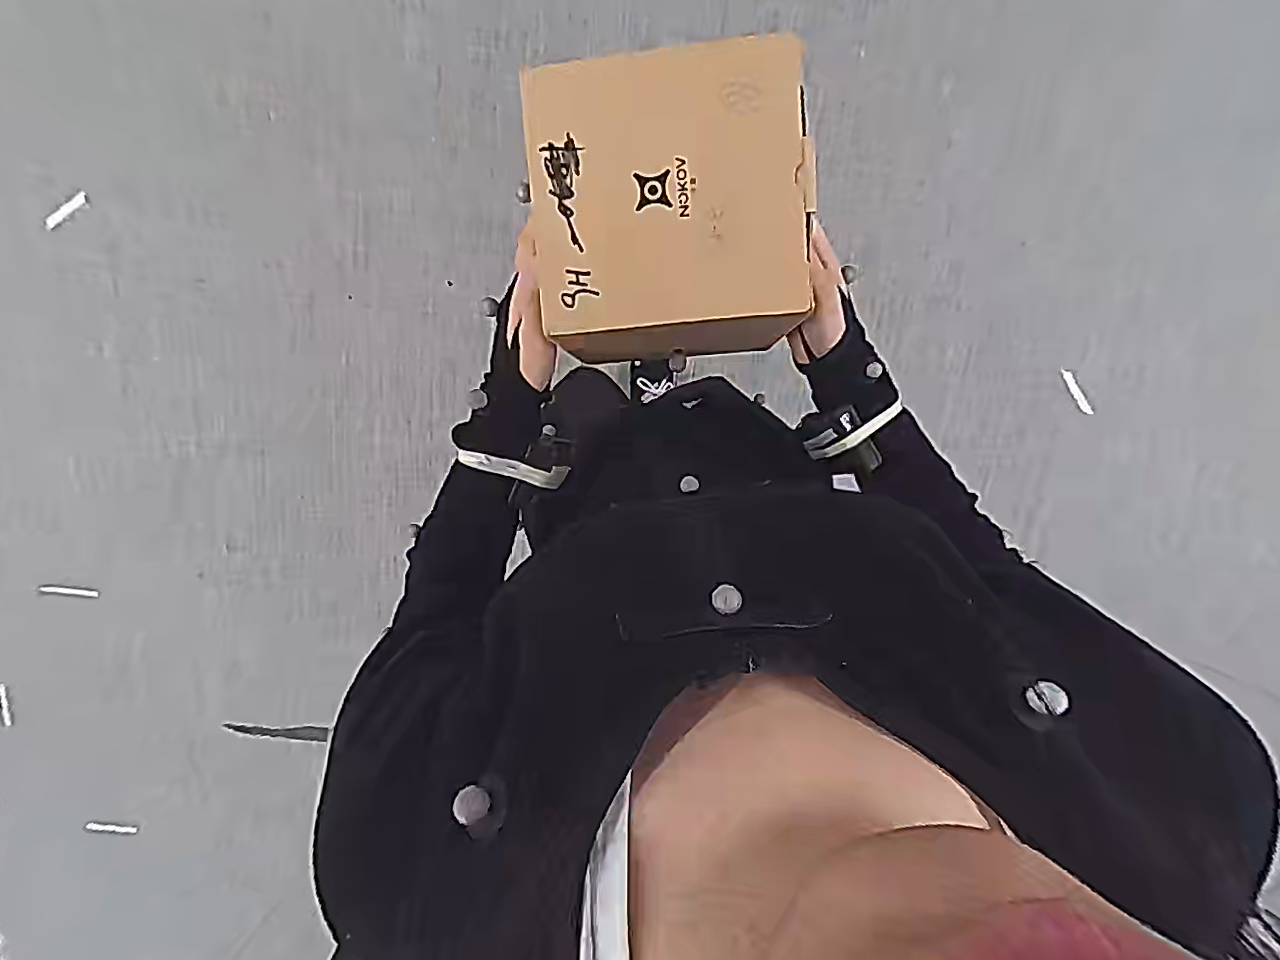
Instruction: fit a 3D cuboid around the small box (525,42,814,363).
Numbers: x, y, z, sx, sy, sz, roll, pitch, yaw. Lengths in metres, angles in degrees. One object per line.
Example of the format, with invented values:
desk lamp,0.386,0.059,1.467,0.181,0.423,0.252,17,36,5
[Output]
small box,0.022,-0.188,0.419,0.179,0.176,0.168,-4,94,3
